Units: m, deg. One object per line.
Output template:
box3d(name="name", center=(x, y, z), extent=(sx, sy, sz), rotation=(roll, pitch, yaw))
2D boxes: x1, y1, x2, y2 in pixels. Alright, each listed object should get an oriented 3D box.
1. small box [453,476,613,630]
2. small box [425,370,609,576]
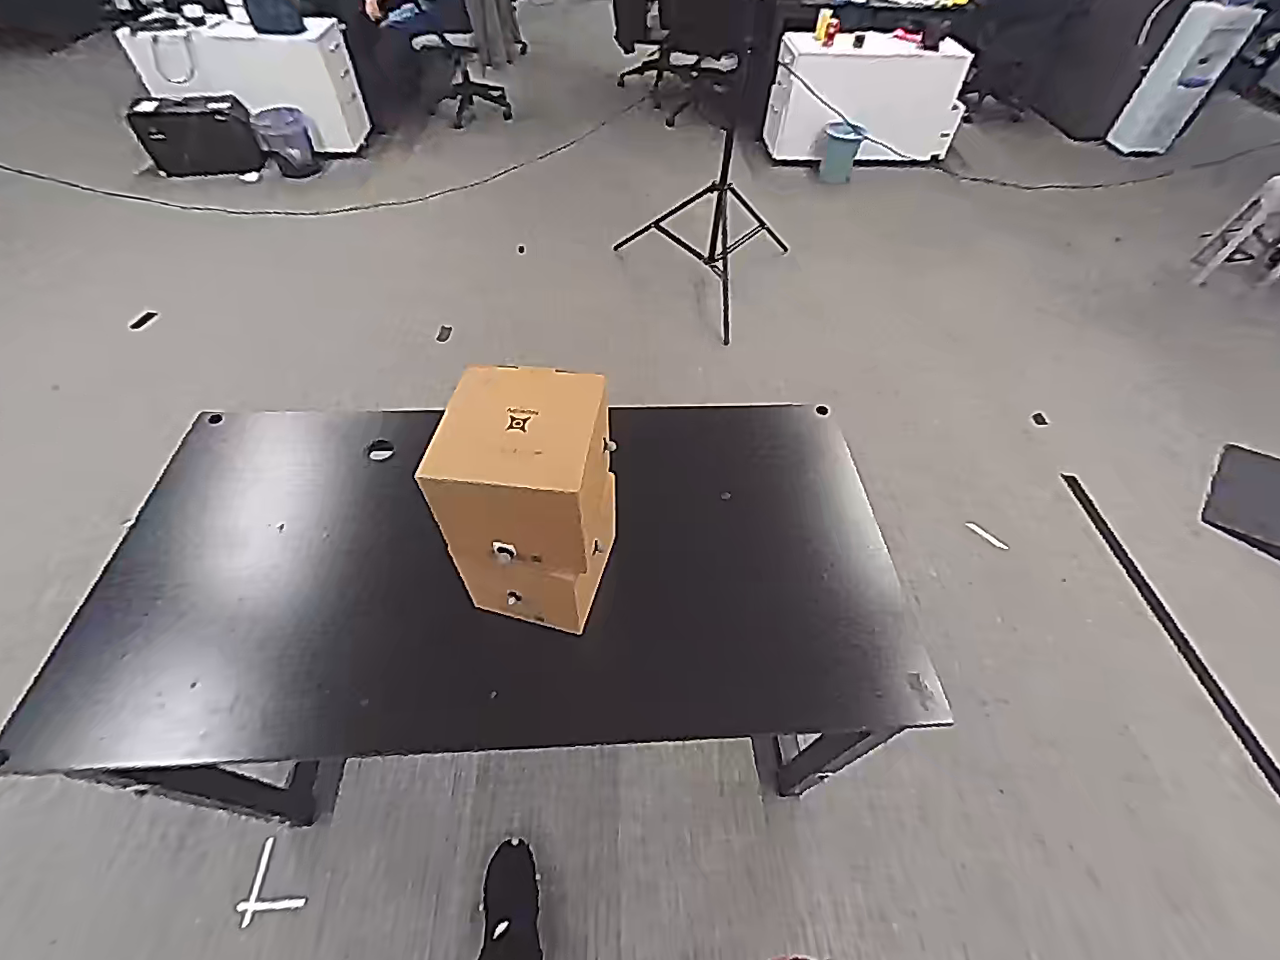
box3d(name="small box", center=(-0.138, 0.093, 0.780), extent=(0.168, 0.176, 0.179), rotation=(13, 52, 8))
box3d(name="small box", center=(-0.129, -0.007, 0.651), extent=(0.168, 0.176, 0.179), rotation=(5, 52, 3))
